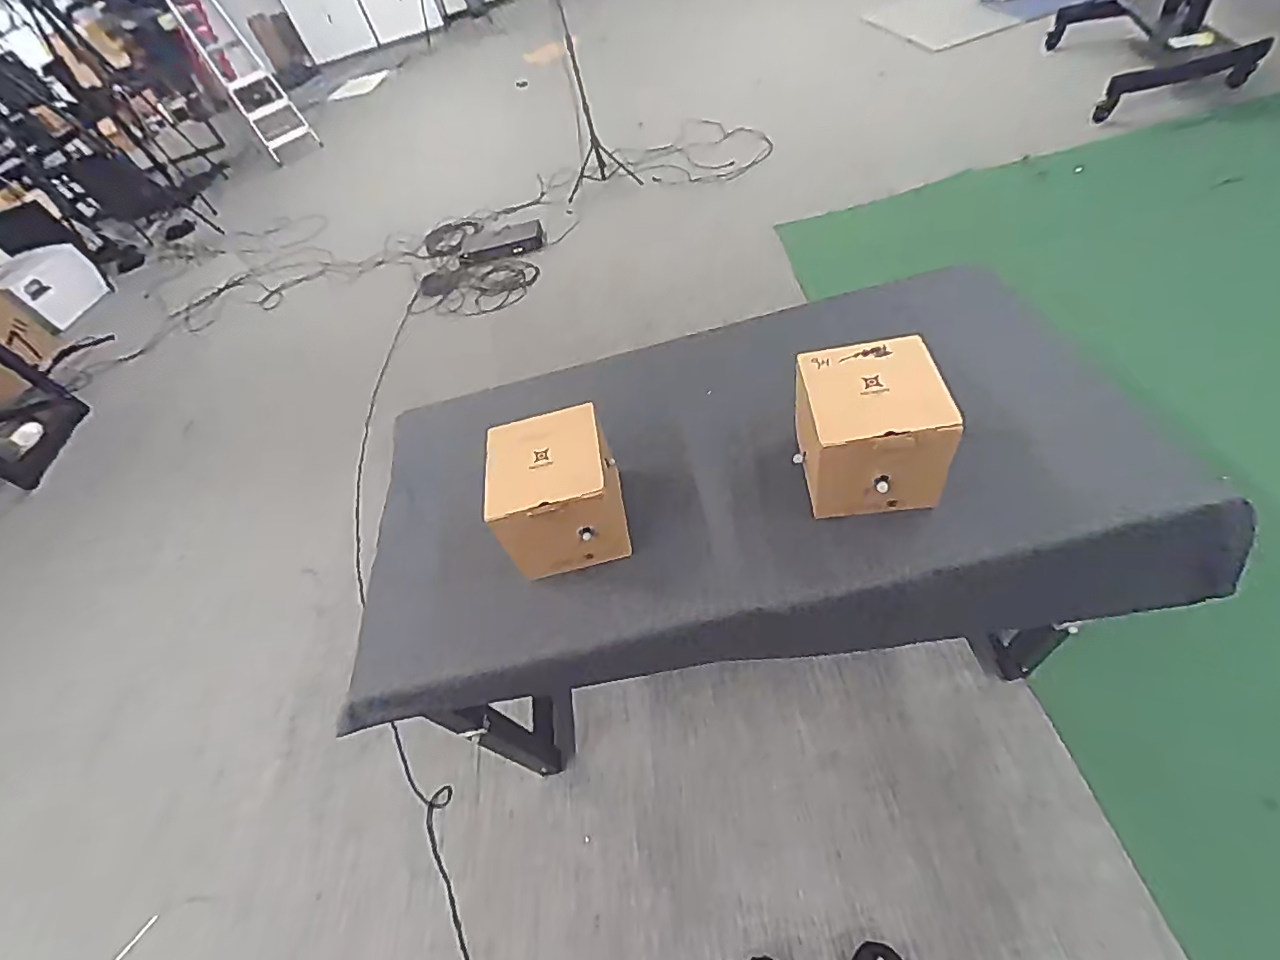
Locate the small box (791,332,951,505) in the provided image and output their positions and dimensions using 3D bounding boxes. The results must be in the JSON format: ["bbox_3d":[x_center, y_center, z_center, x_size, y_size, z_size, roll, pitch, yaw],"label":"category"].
[{"bbox_3d":[0.313,-0.077,0.769,0.168,0.176,0.179,-8,53,10],"label":"small box"}]

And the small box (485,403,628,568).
[{"bbox_3d":[-0.122,0.017,0.824,0.168,0.176,0.179,-15,49,3],"label":"small box"}]
